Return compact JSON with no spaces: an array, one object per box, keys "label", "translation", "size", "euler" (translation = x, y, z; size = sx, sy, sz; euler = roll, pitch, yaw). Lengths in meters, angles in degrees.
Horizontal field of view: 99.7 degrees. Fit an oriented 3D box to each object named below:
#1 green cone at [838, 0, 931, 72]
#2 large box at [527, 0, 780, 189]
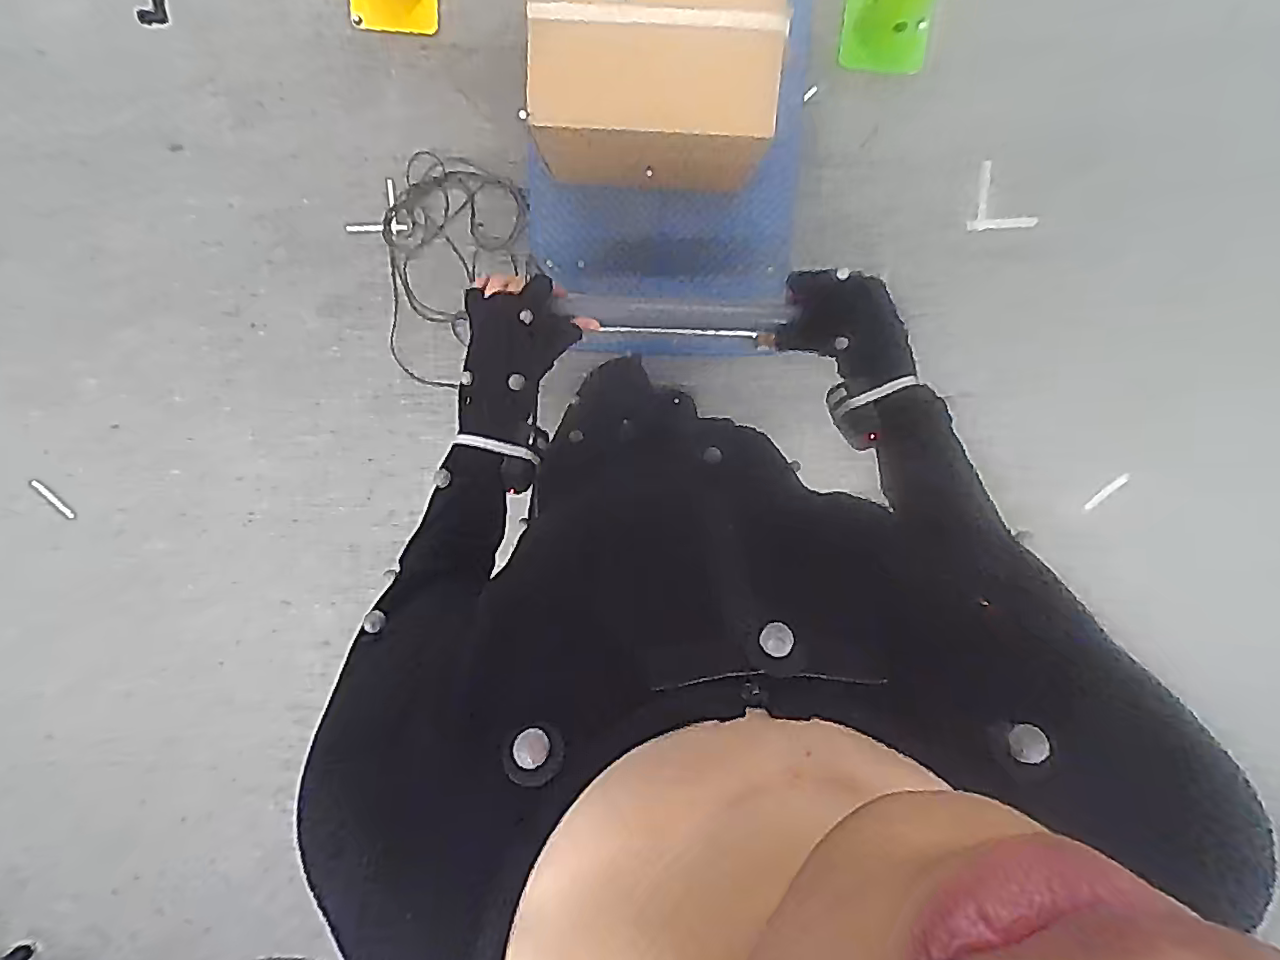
[{"label":"green cone","translation":[0.568,-1.027,1.081],"size":[0.202,0.368,0.200],"euler":[4,102,-2]},{"label":"large box","translation":[0.023,-0.748,0.994],"size":[0.408,0.320,0.320],"euler":[3,102,0]}]
